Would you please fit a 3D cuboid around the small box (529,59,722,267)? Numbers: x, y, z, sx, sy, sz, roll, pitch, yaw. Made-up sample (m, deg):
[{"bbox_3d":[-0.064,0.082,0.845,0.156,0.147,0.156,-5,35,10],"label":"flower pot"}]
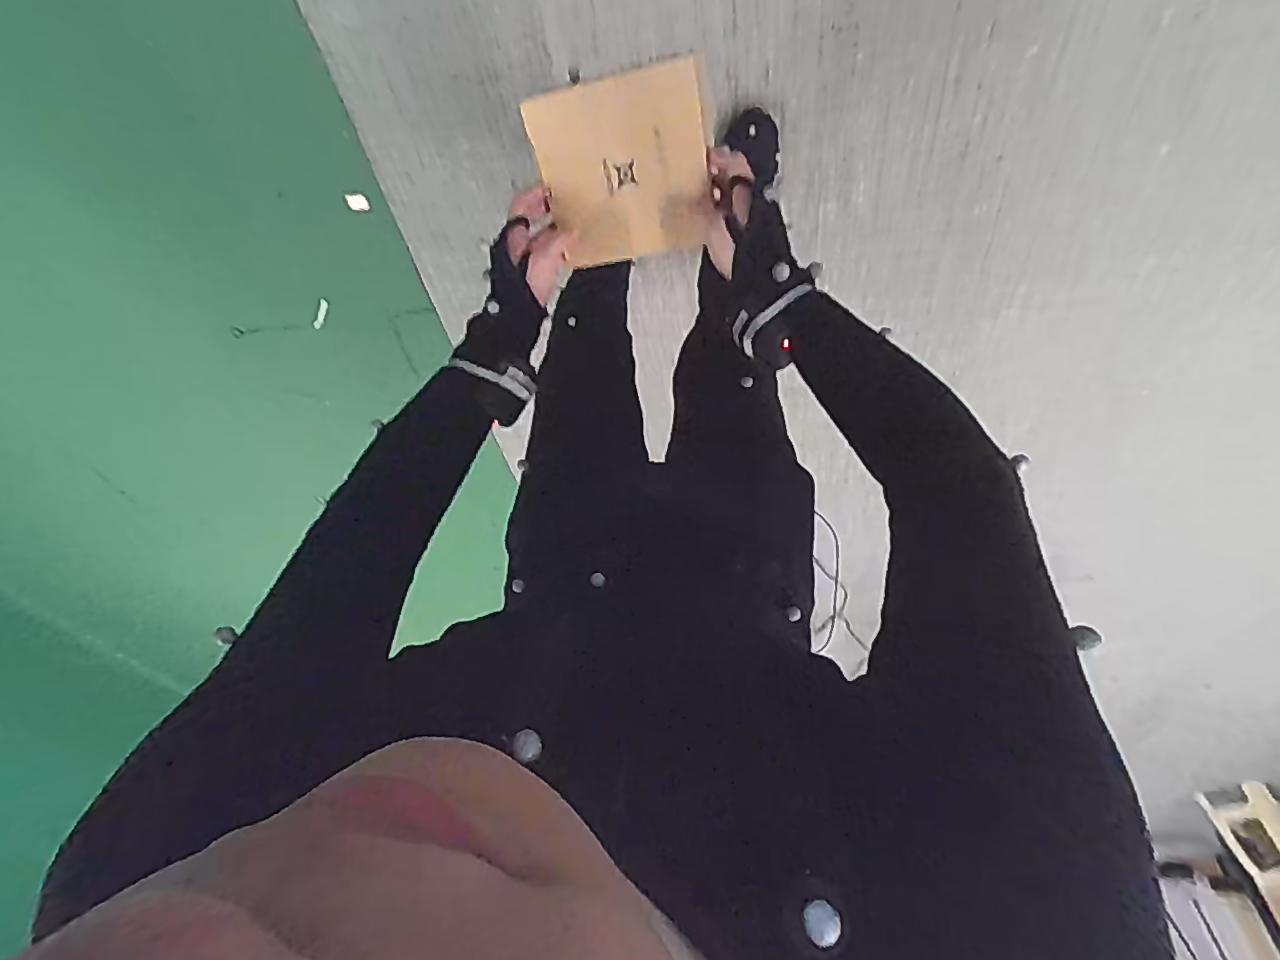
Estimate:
[{"bbox_3d":[-0.002,-0.364,0.623,0.179,0.176,0.168,-4,129,13],"label":"small box"}]
